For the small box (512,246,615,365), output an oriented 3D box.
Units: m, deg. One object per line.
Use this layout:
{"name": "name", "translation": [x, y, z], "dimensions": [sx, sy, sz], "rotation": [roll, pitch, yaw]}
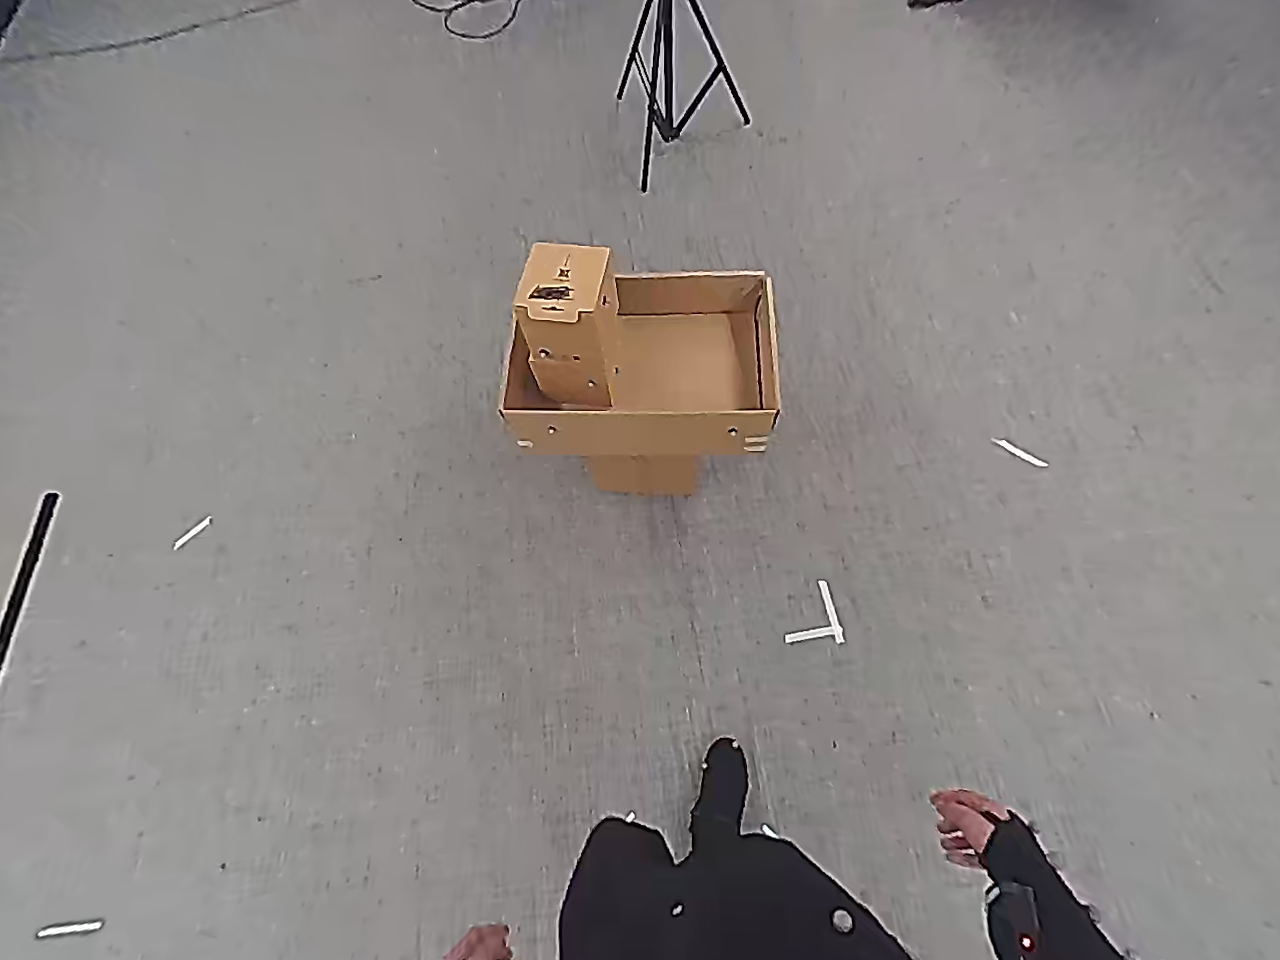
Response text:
{"name": "small box", "translation": [-0.151, -0.365, 1.149], "dimensions": [0.168, 0.176, 0.179], "rotation": [7, 66, 7]}
